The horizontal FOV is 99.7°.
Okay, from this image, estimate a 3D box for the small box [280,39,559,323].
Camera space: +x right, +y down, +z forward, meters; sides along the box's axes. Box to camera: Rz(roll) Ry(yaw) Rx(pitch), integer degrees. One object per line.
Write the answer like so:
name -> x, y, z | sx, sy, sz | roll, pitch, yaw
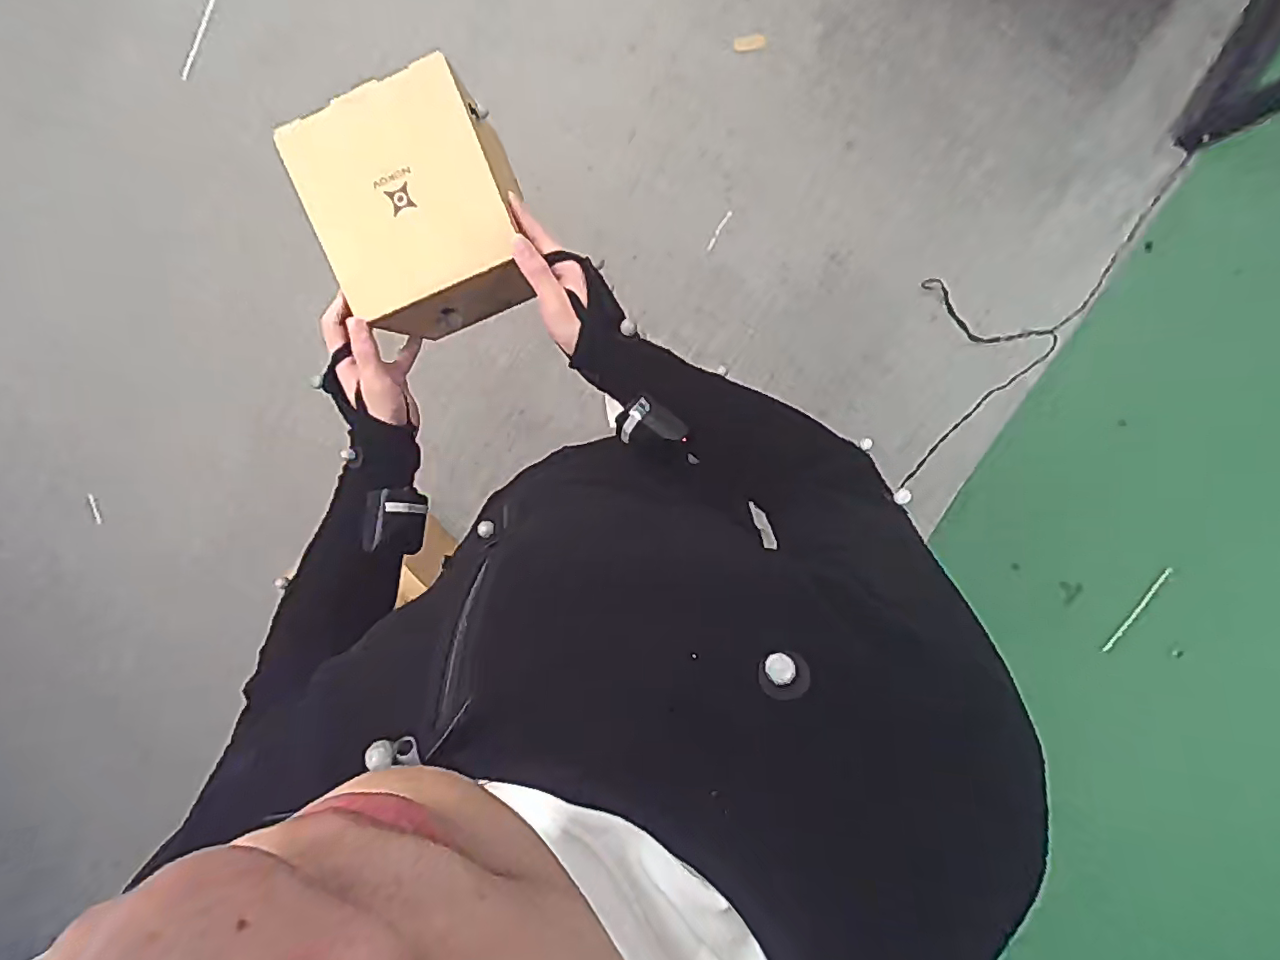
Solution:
small box -> -0.195, -0.267, 0.537 | 0.168, 0.176, 0.179 | -20, 98, 5
